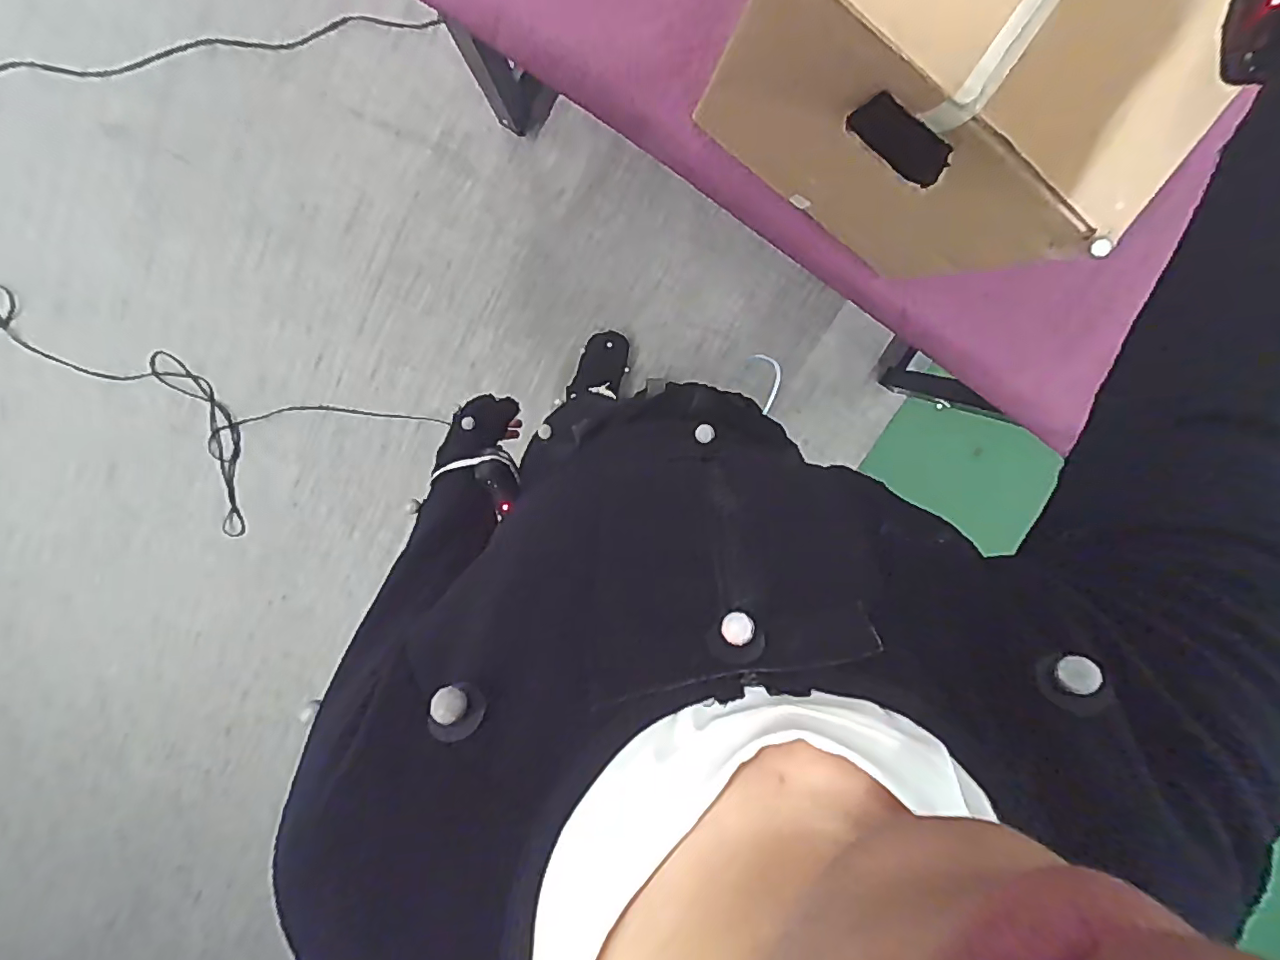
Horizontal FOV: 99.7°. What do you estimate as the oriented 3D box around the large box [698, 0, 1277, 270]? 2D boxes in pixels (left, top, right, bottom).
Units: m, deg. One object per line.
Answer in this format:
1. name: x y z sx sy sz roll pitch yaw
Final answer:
1. large box: 0.306 -0.458 0.479 0.320 0.320 0.408 32 103 -12
